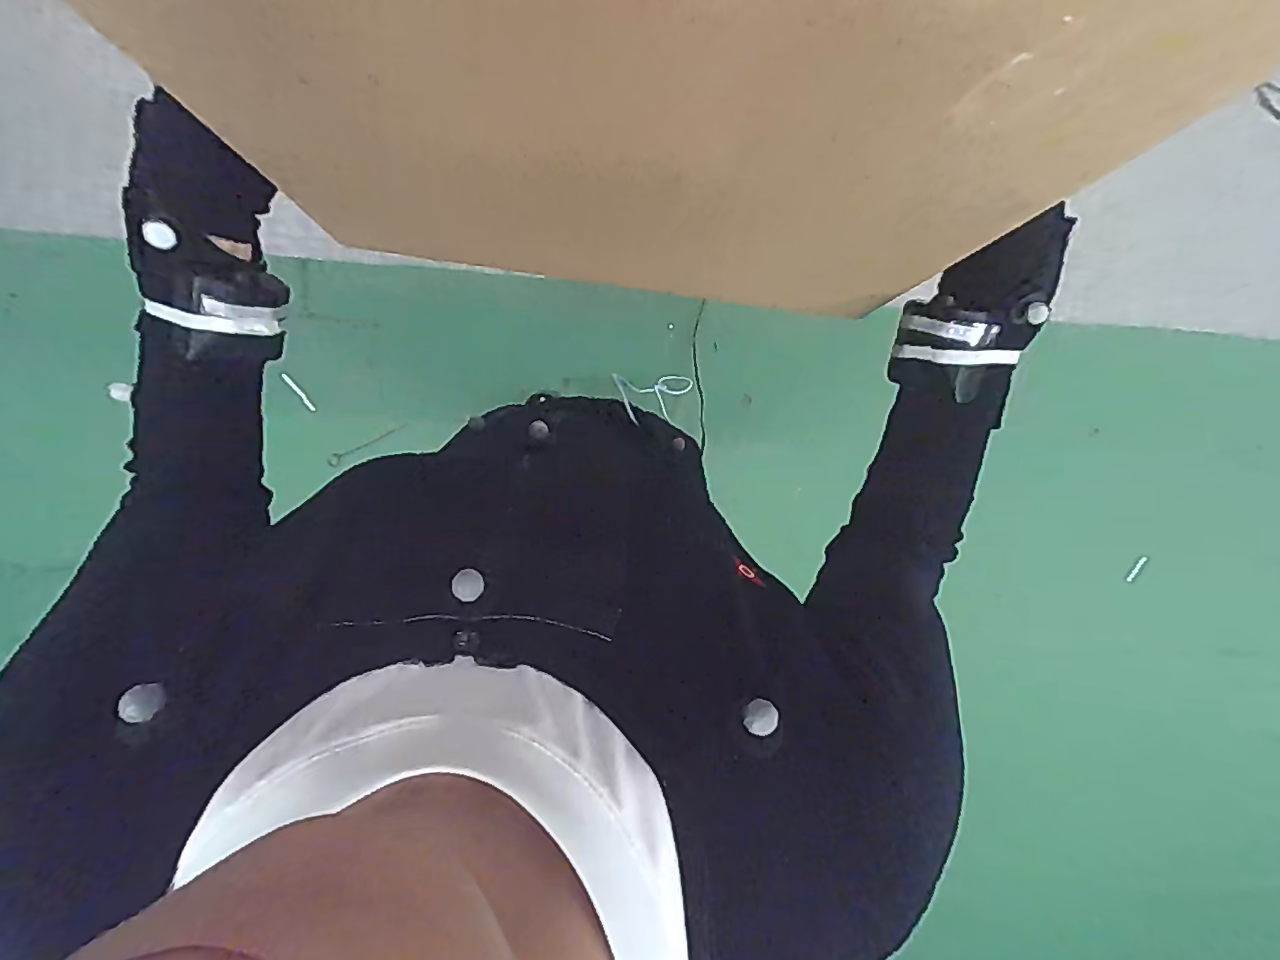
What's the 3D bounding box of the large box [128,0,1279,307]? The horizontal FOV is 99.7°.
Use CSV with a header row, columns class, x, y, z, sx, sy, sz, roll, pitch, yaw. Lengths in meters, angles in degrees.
class,x,y,z,sx,sy,sz,roll,pitch,yaw
large box,0.013,-0.305,0.267,0.408,0.320,0.320,7,91,-6
